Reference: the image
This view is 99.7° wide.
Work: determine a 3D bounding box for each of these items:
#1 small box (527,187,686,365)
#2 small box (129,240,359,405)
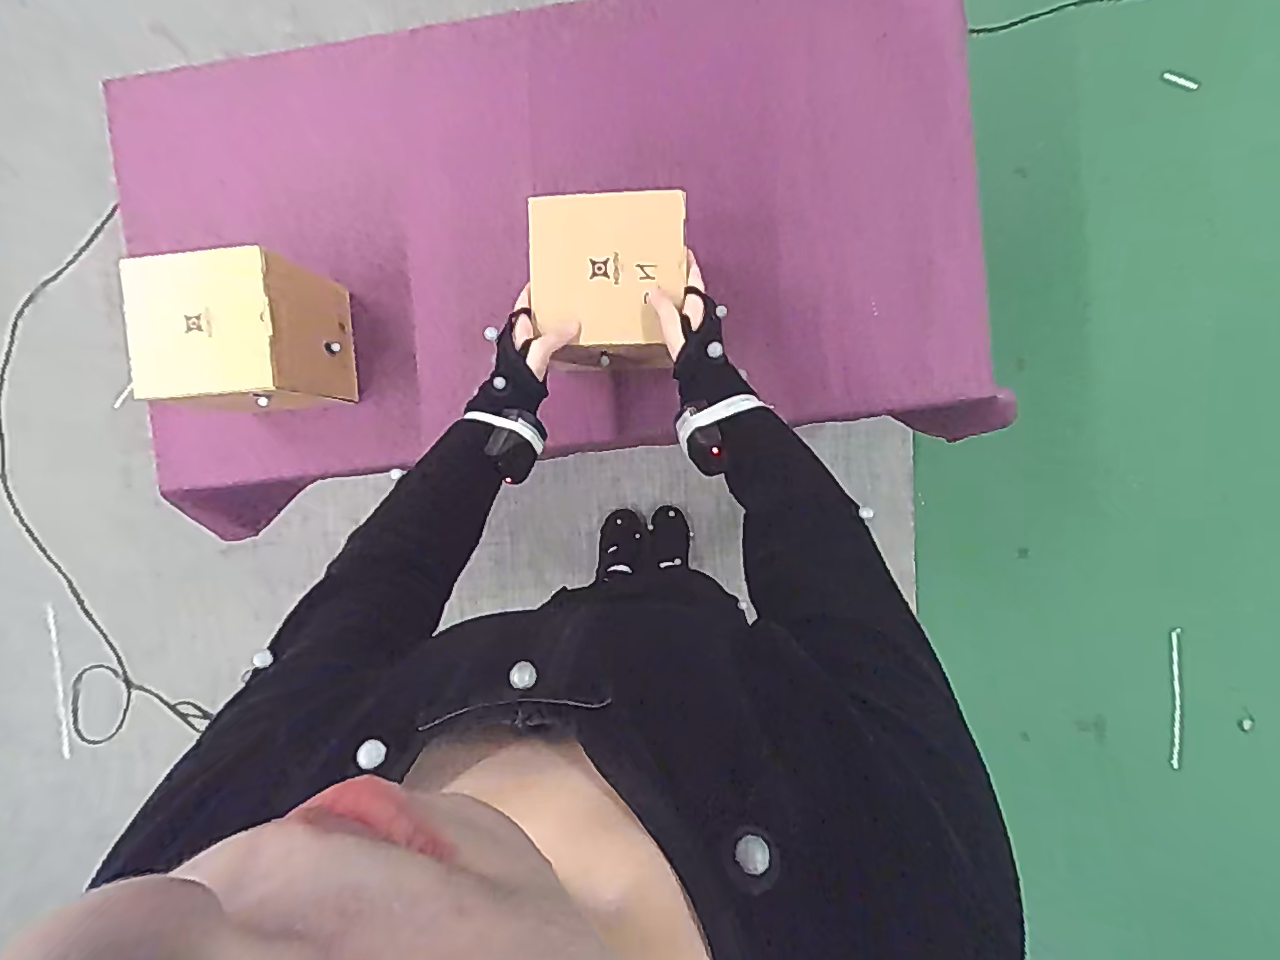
[{"bbox_3d":[-0.032,-0.239,0.674,0.179,0.176,0.168,0,93,4],"label":"small box"},{"bbox_3d":[-0.506,-0.194,0.714,0.179,0.176,0.168,-4,92,4],"label":"small box"}]
